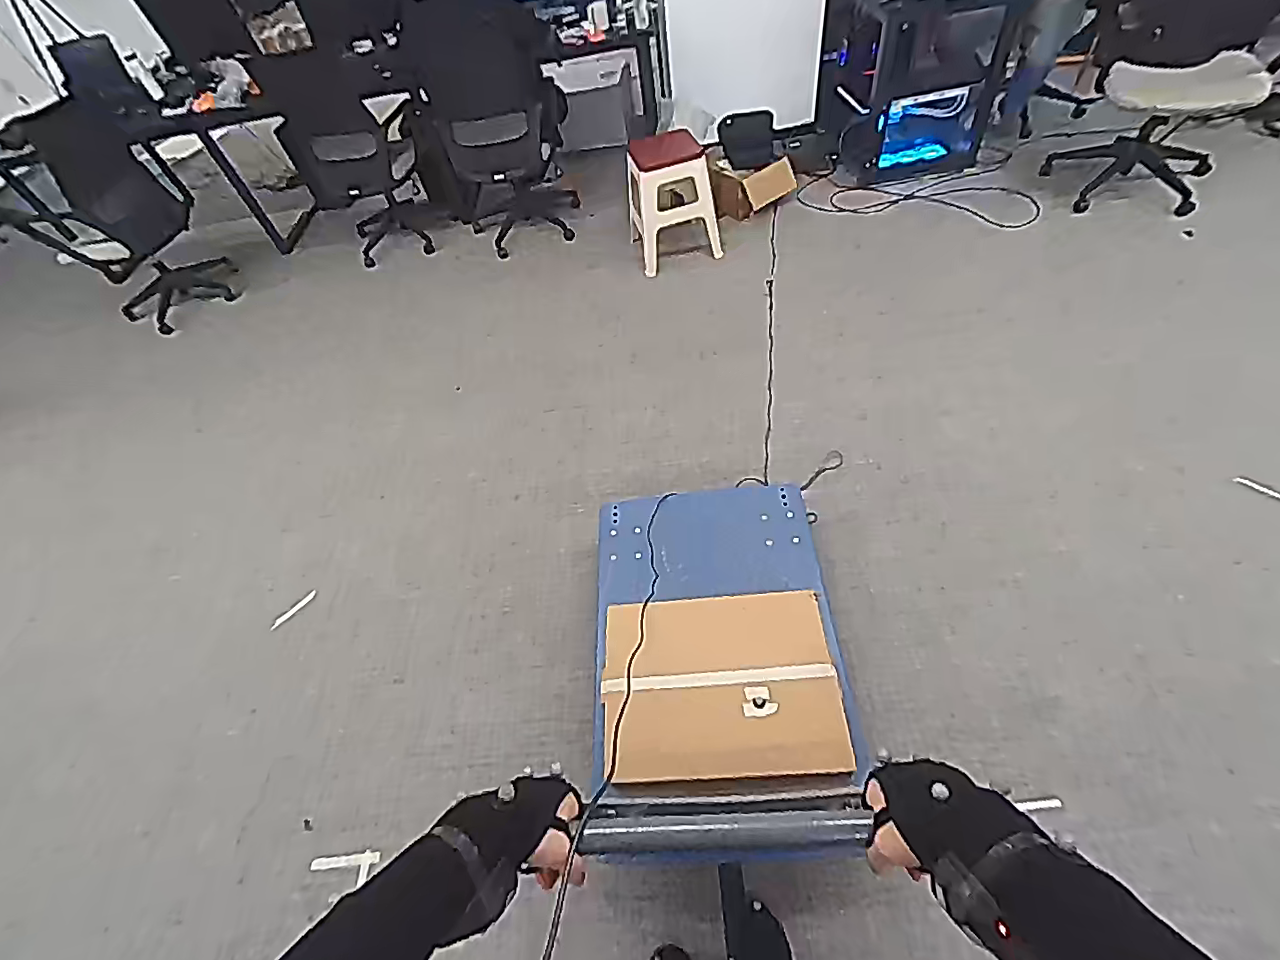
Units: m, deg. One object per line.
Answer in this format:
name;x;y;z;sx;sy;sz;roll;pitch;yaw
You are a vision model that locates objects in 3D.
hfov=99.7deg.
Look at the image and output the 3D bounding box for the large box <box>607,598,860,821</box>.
large box;0.156;0.453;1.049;0.408;0.320;0.320;-6;52;5
